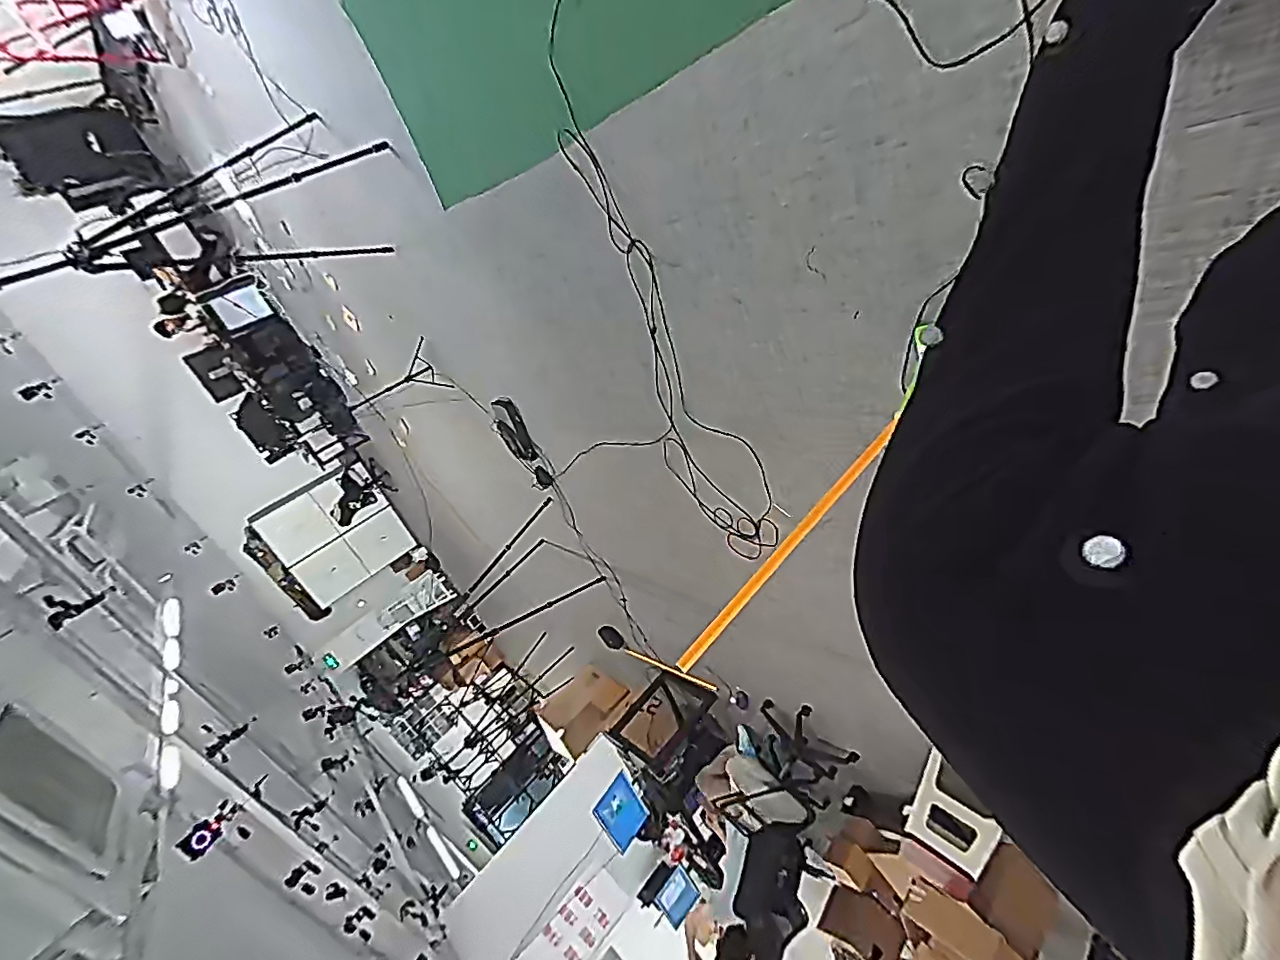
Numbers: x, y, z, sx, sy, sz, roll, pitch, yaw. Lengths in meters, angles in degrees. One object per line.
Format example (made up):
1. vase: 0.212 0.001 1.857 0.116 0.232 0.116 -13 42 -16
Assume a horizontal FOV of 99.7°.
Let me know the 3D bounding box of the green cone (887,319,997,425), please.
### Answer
1. green cone: 0.770 -0.258 1.449 0.202 0.368 0.200 8 130 53
